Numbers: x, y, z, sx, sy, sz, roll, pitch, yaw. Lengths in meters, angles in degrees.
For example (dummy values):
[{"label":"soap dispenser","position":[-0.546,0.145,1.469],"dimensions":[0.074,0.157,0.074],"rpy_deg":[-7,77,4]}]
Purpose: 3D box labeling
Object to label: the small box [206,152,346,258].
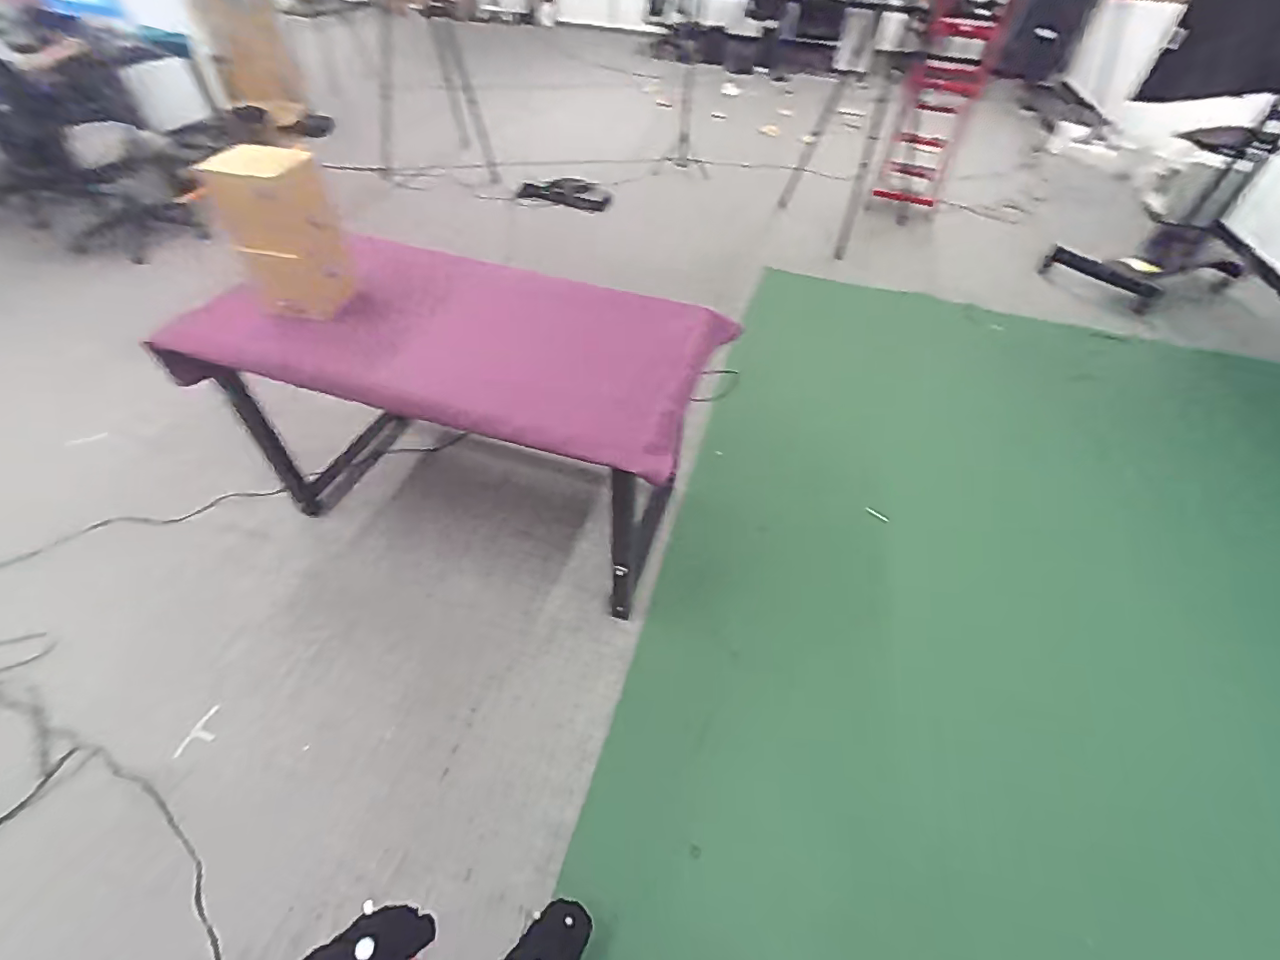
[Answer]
[{"label":"small box","position":[-0.822,-0.630,1.243],"dimensions":[0.179,0.176,0.168],"rpy_deg":[9,48,5]}]
